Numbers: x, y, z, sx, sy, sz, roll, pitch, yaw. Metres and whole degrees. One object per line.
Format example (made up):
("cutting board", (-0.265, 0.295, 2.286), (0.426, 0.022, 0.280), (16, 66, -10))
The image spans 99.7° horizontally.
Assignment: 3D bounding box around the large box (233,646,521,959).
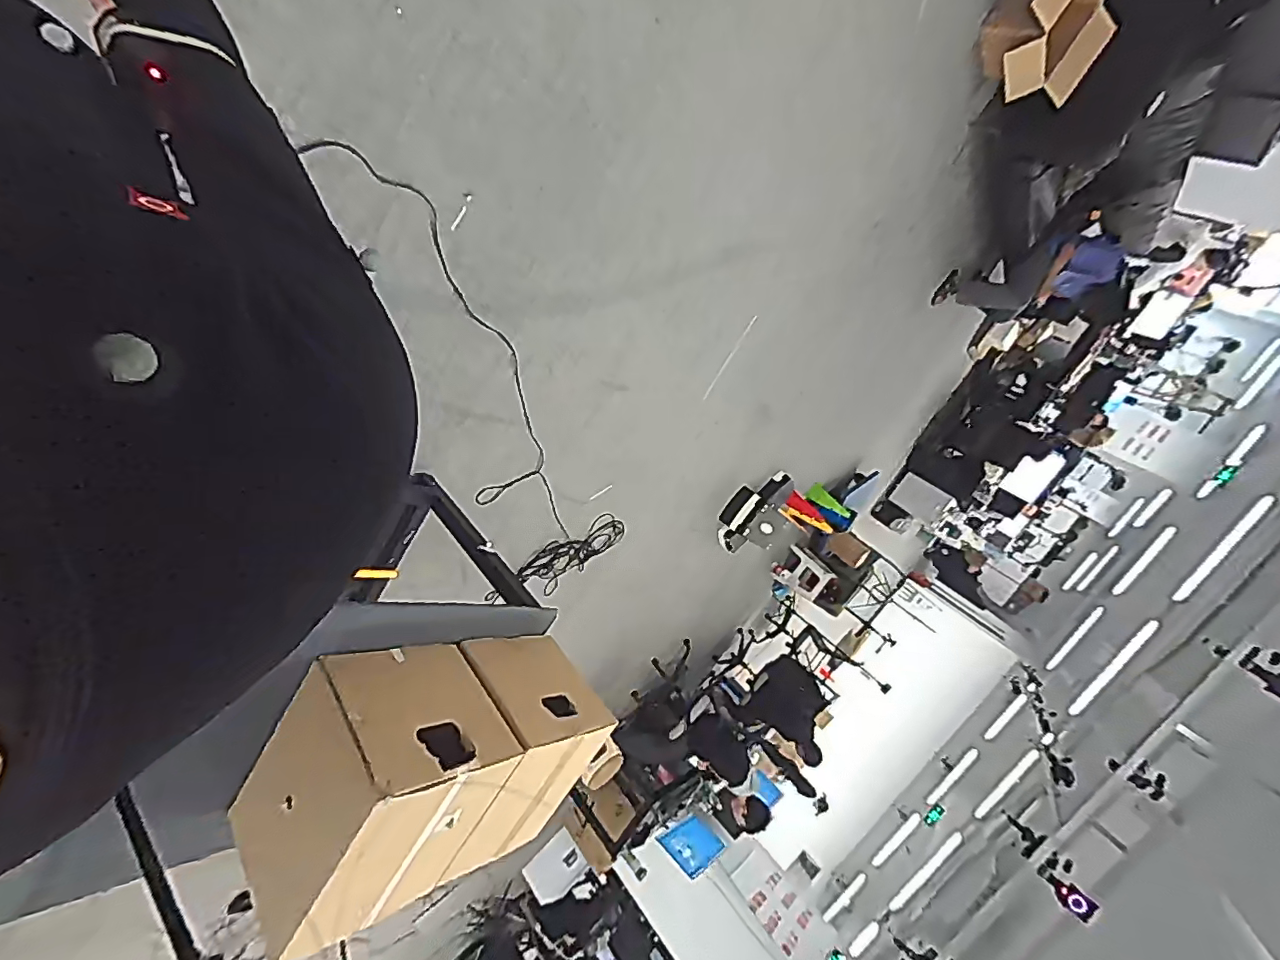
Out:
("large box", (-0.512, 0.589, 1.046), (0.320, 0.320, 0.408), (17, 108, -56))
